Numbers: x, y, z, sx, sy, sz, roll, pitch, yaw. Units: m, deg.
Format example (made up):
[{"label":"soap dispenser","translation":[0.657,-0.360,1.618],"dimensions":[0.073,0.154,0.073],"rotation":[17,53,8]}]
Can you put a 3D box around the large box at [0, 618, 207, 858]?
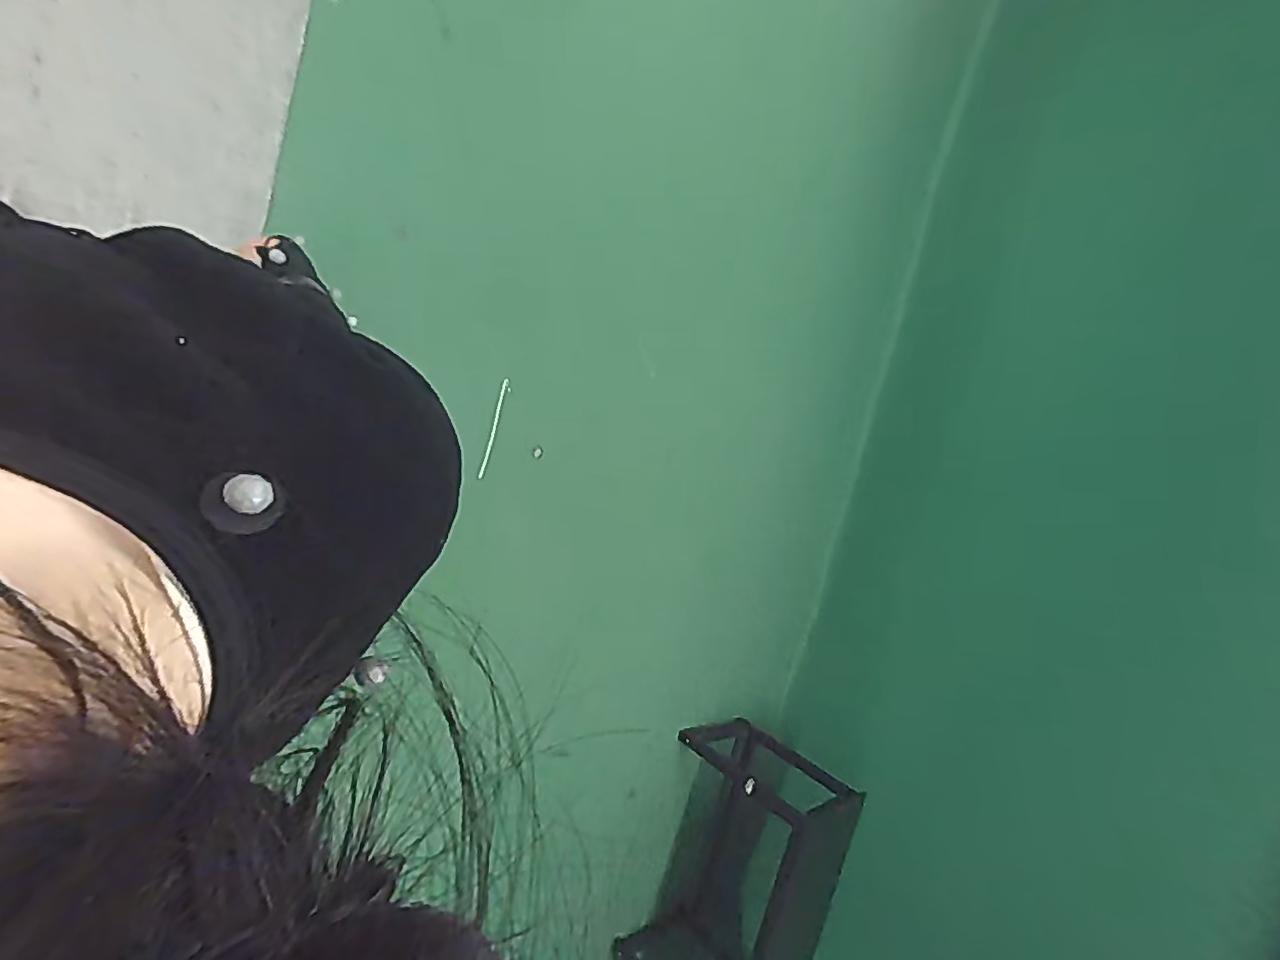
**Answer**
[{"label":"large box","translation":[-1.121,0.512,1.037],"dimensions":[0.408,0.320,0.320],"rotation":[-8,109,-43]}]
